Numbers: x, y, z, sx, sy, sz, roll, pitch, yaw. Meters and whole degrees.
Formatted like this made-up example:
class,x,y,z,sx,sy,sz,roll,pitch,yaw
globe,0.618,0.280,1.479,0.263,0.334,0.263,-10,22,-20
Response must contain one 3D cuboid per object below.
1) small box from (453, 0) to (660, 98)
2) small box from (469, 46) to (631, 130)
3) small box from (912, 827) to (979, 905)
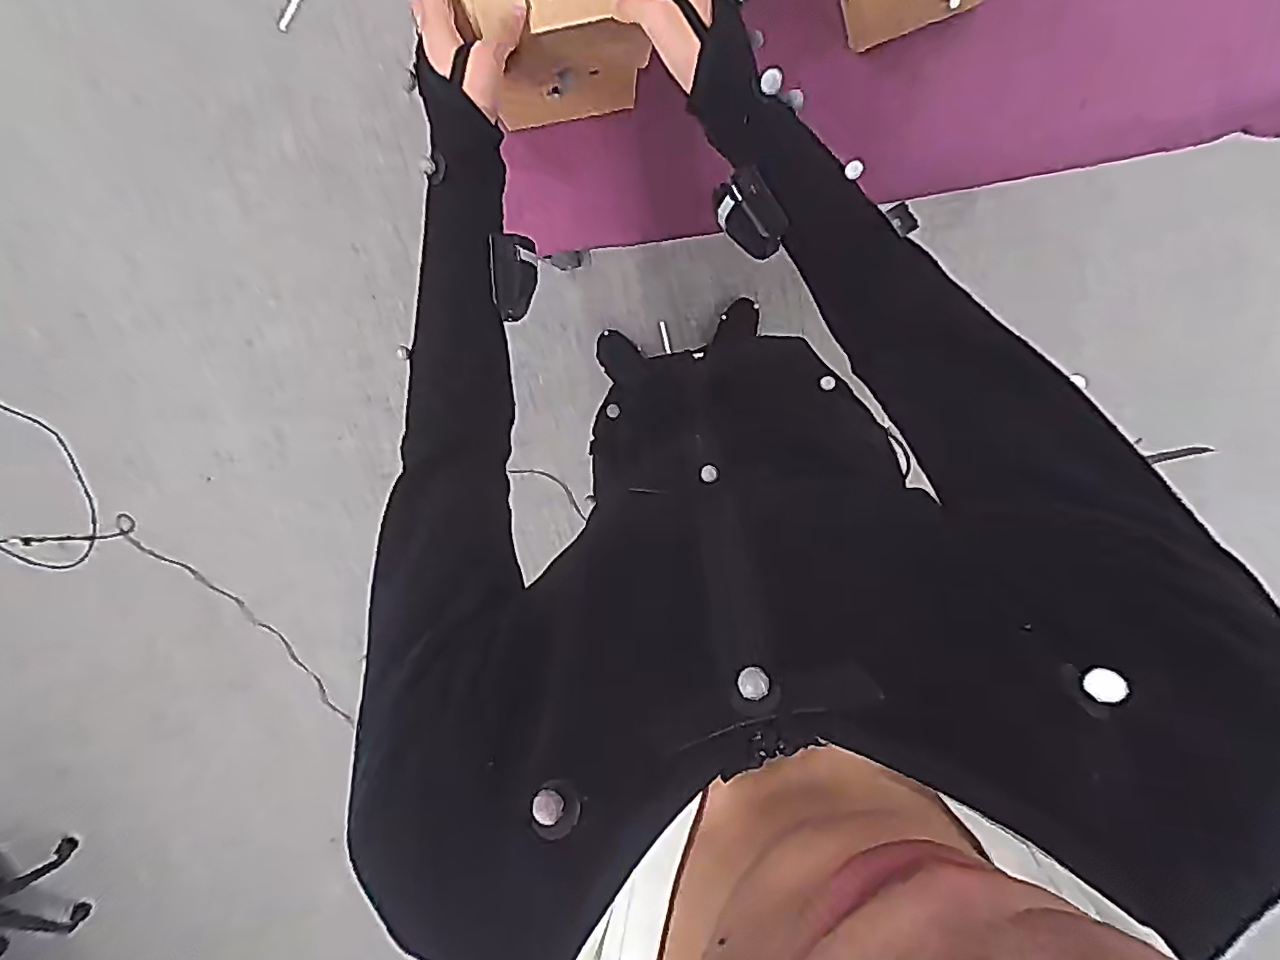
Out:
class,x,y,z,sx,sy,sz,roll,pitch,yaw
small box,-0.082,-0.472,0.477,0.168,0.176,0.179,-10,114,1
small box,-0.105,-0.535,0.633,0.179,0.176,0.168,-10,110,0
small box,1.215,1.536,2.155,0.168,0.176,0.179,-18,108,3
